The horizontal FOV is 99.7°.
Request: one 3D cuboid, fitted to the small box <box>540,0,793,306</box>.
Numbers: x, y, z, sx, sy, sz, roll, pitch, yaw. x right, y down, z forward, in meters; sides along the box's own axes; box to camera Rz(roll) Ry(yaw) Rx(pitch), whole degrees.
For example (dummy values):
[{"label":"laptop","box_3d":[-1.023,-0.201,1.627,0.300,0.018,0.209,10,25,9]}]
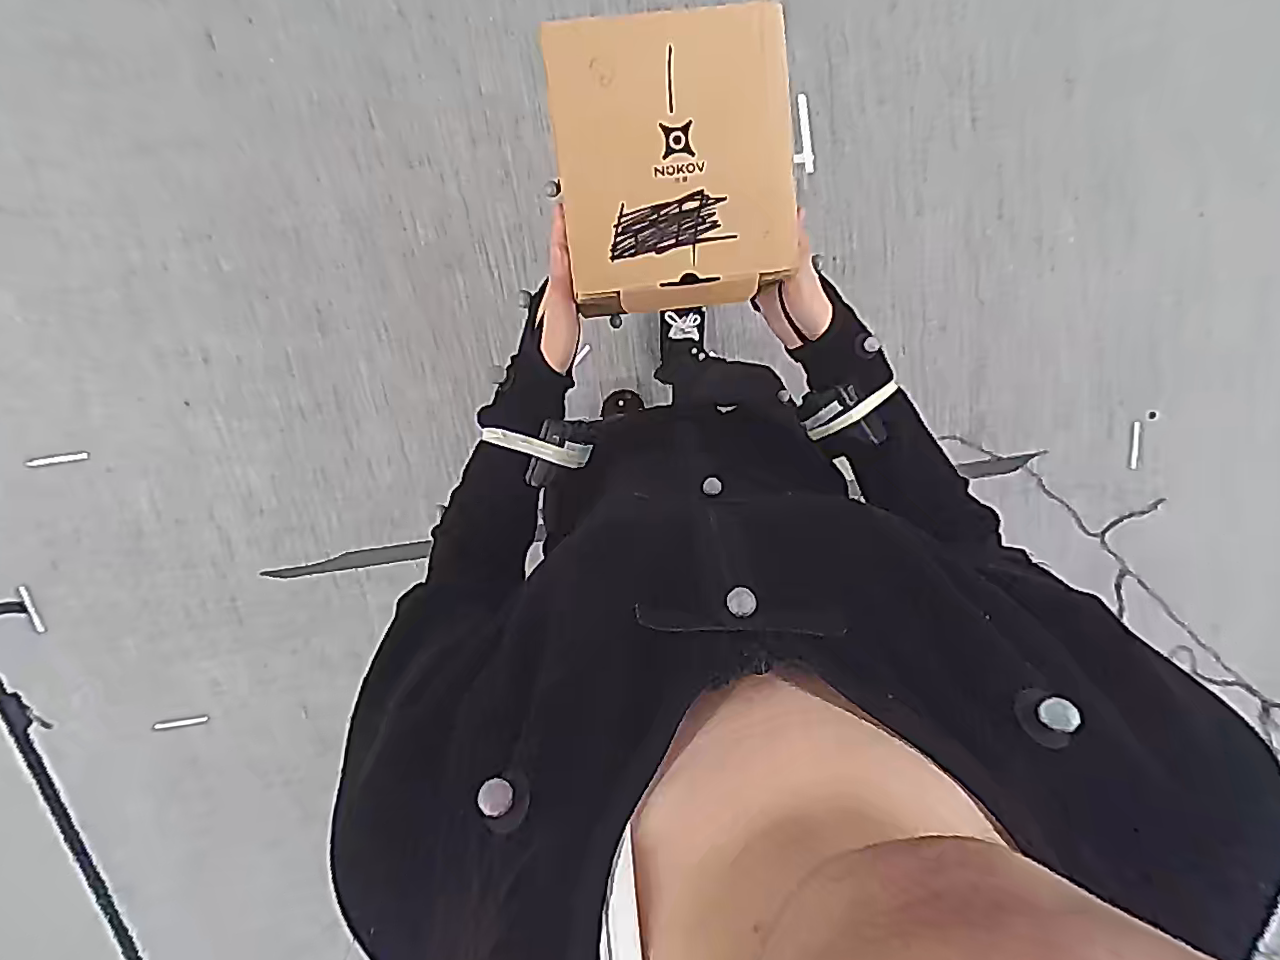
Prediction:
[{"label":"small box","box_3d":[0.018,-0.246,0.452,0.168,0.176,0.179,-7,101,-3]}]
